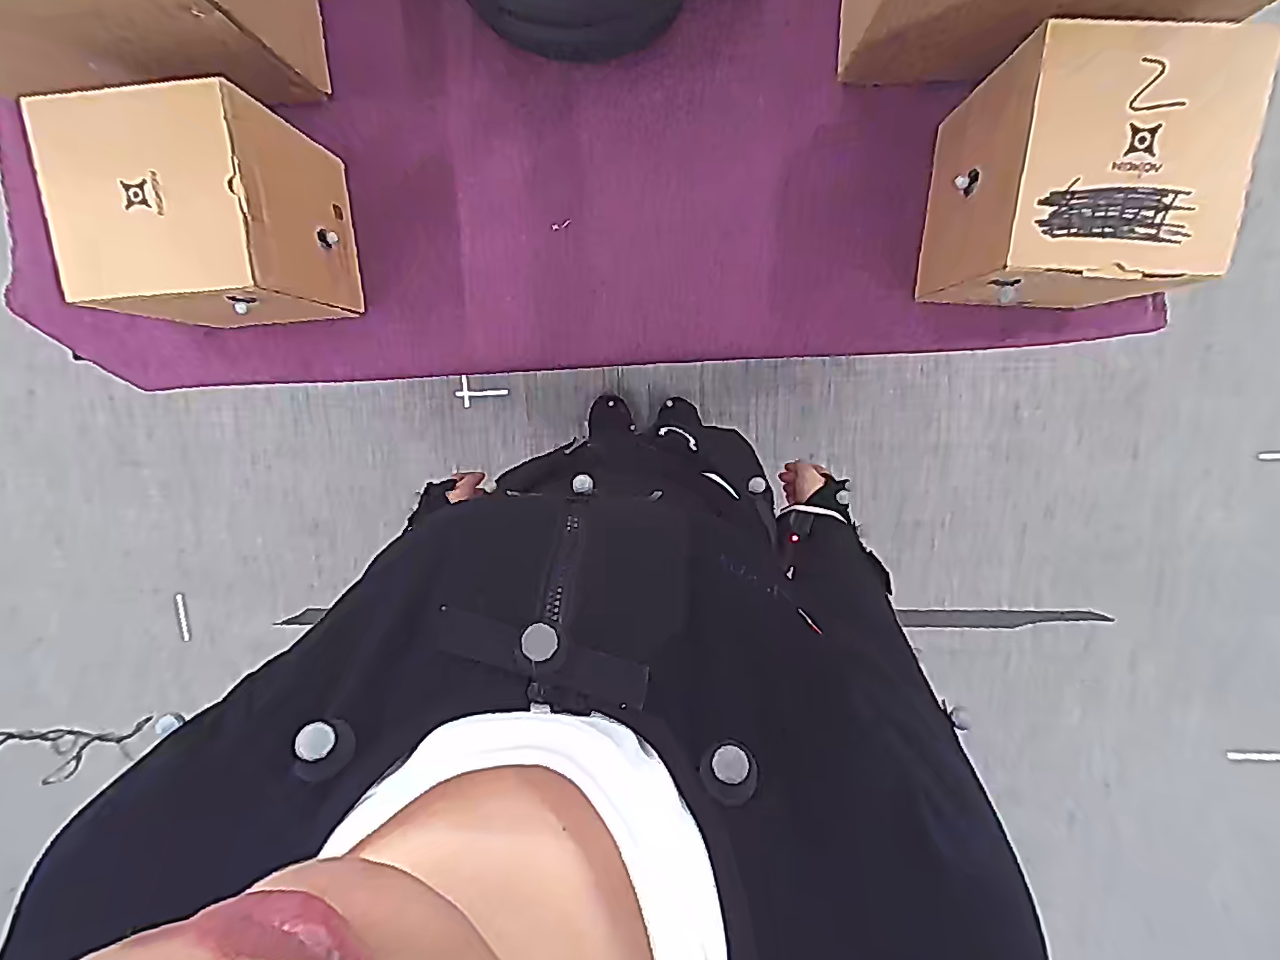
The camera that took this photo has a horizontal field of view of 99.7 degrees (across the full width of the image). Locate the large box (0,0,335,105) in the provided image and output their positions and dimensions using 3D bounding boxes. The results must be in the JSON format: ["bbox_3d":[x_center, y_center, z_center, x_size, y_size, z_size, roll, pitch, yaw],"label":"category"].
[{"bbox_3d":[-0.493,-0.568,0.407,0.320,0.320,0.408,-3,102,2],"label":"large box"}]

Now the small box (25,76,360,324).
[{"bbox_3d":[-0.414,-0.253,0.532,0.179,0.176,0.168,-4,99,3],"label":"small box"}]
